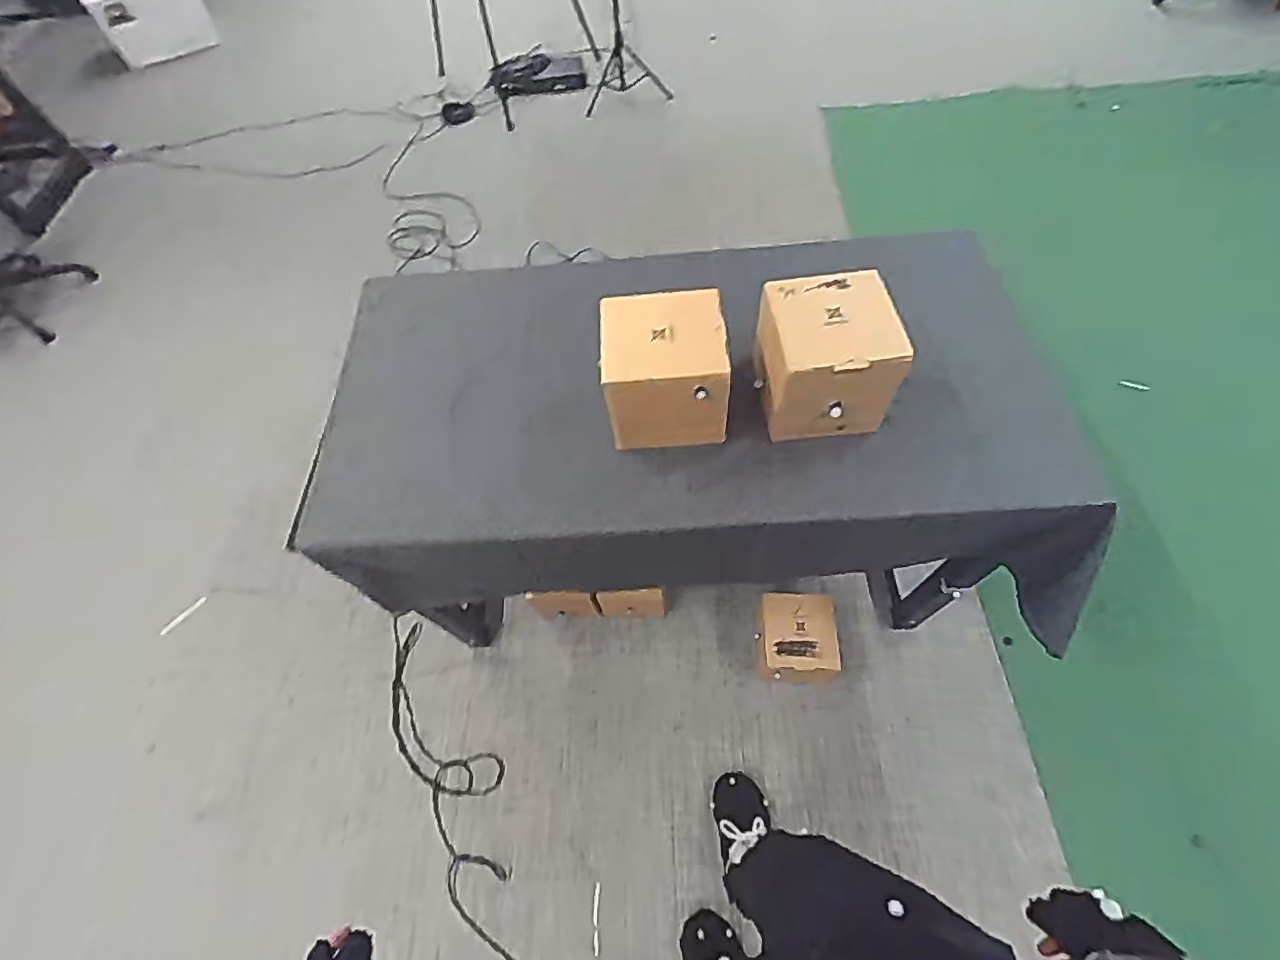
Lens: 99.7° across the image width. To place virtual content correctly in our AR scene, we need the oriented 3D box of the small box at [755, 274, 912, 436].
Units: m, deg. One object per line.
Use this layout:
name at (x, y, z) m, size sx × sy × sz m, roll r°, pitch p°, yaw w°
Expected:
small box at (0.275, -0.179, 0.815) m, size 0.168 × 0.176 × 0.179 m, roll -5°, pitch 60°, yaw 1°
